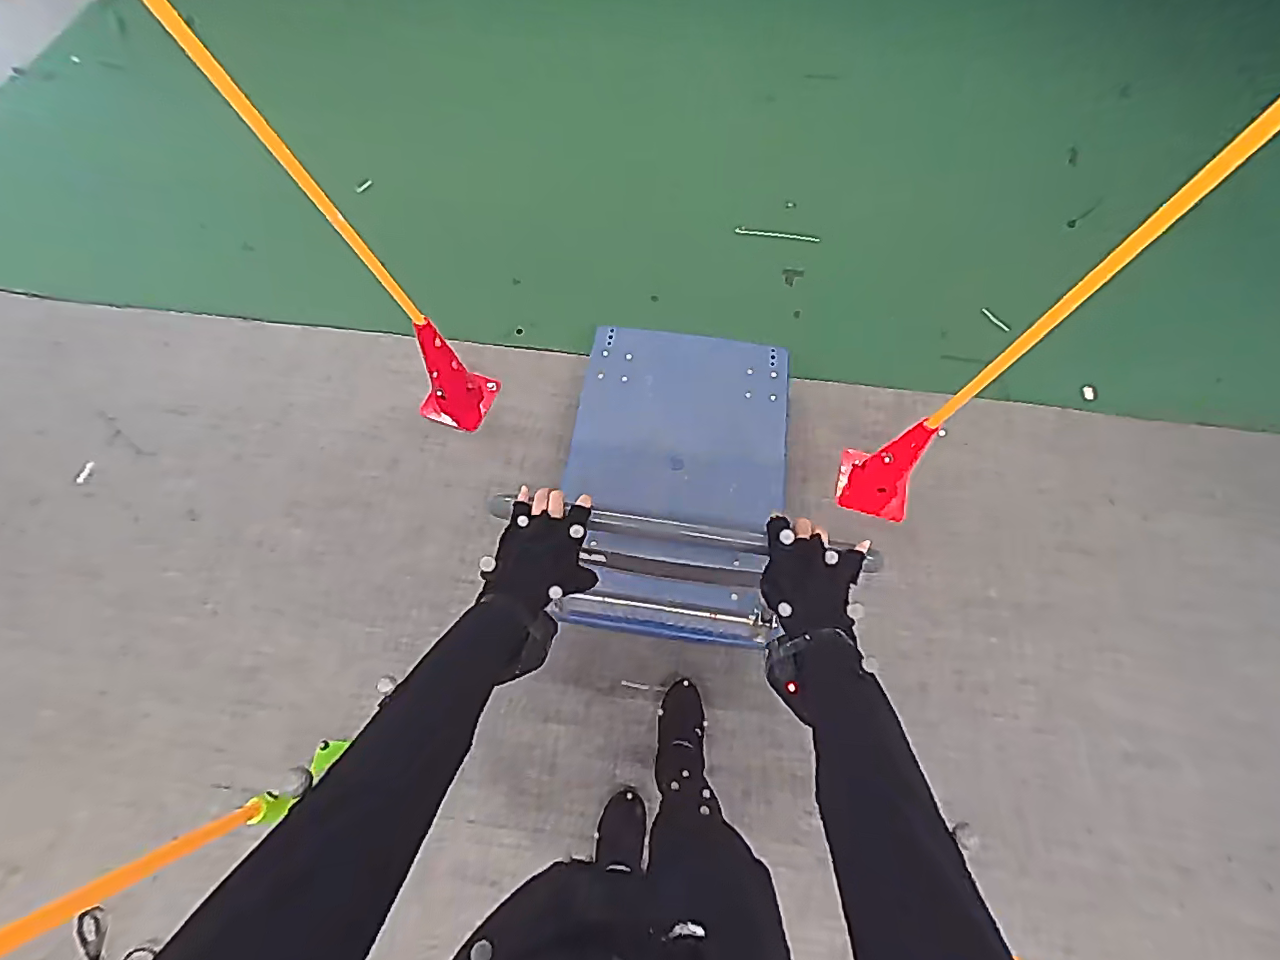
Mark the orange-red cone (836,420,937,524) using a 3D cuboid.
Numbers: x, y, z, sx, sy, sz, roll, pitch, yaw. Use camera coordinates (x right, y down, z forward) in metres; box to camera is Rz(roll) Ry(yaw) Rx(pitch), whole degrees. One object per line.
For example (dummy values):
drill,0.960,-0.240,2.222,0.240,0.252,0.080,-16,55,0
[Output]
orange-red cone,0.691,-0.052,1.447,0.198,0.360,0.199,17,66,7
